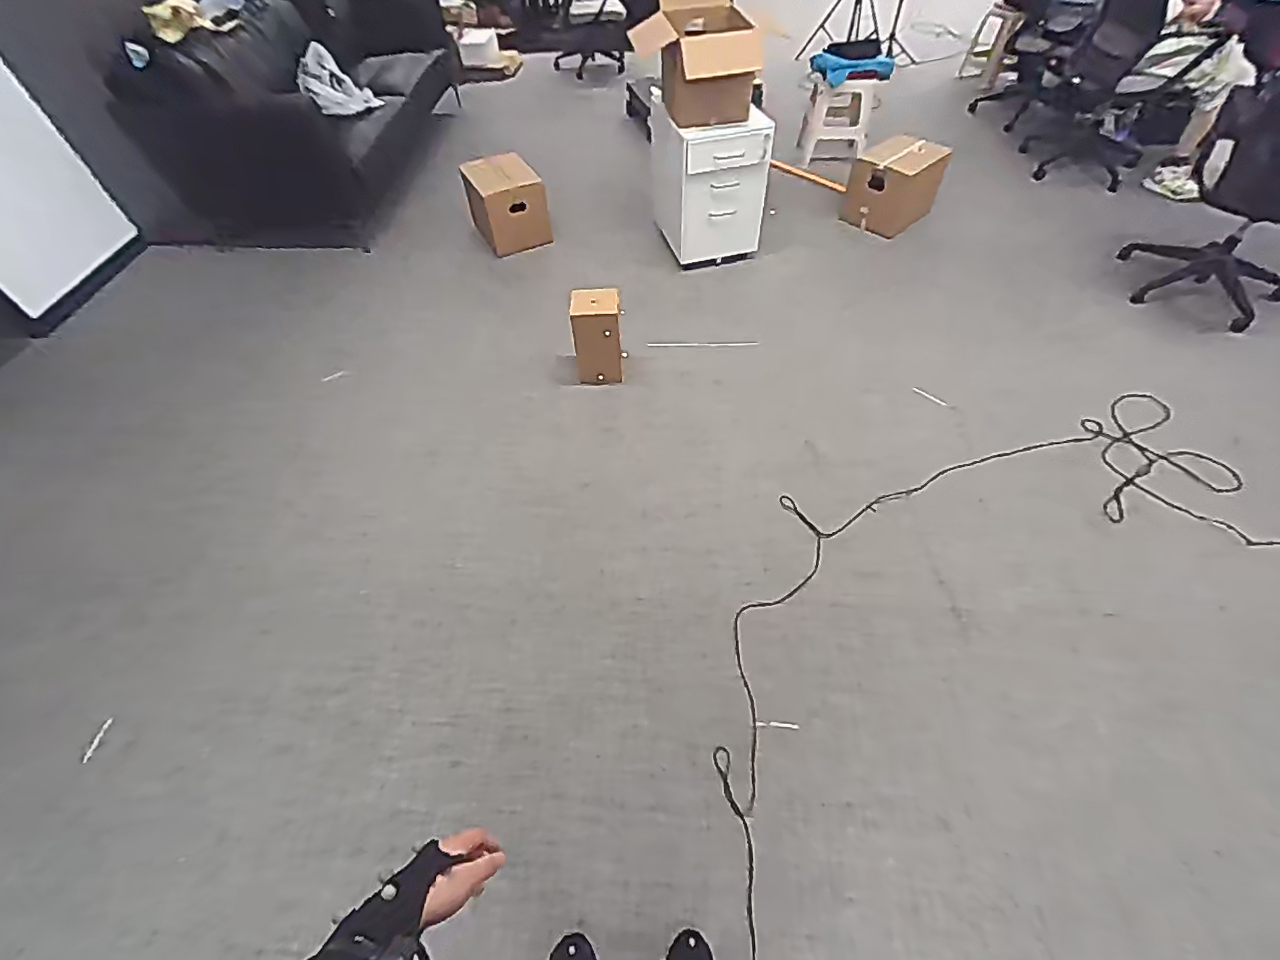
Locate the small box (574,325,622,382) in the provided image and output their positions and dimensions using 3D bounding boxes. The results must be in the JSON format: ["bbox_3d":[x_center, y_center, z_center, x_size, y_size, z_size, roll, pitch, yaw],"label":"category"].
[{"bbox_3d":[-0.163,-0.508,2.178,0.179,0.176,0.168,-1,52,2],"label":"small box"}]

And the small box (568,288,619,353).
[{"bbox_3d":[-0.169,-0.600,2.042,0.179,0.176,0.168,-4,51,2],"label":"small box"}]
